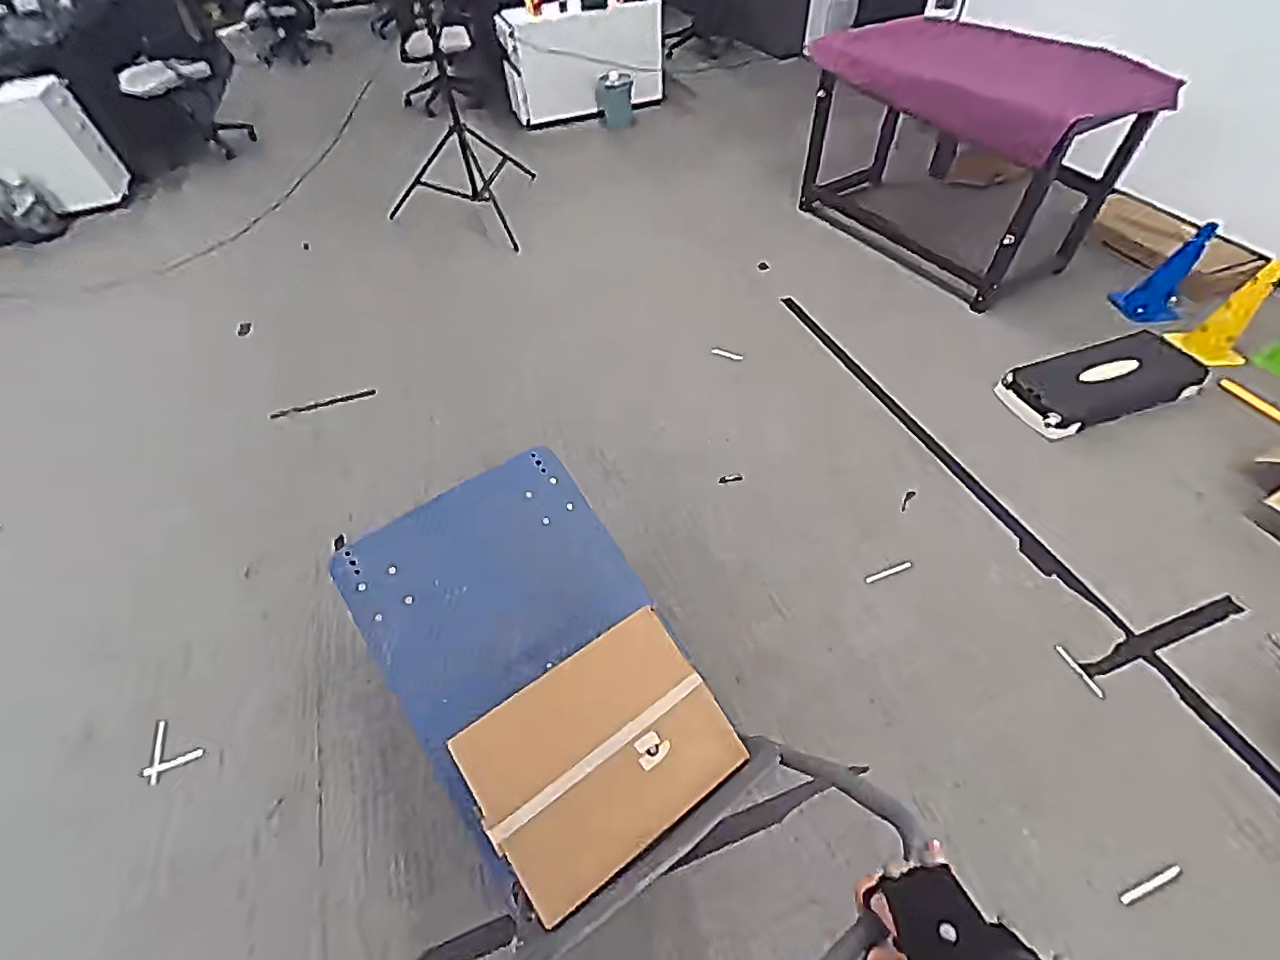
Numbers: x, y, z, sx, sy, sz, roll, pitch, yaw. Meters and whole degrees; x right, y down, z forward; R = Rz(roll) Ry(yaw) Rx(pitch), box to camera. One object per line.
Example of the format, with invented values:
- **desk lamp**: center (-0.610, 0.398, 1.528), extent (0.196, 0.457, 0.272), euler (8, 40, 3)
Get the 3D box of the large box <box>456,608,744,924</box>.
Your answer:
- **large box**: center (-0.084, 0.512, 1.048), extent (0.408, 0.320, 0.320), euler (-31, 78, -21)
